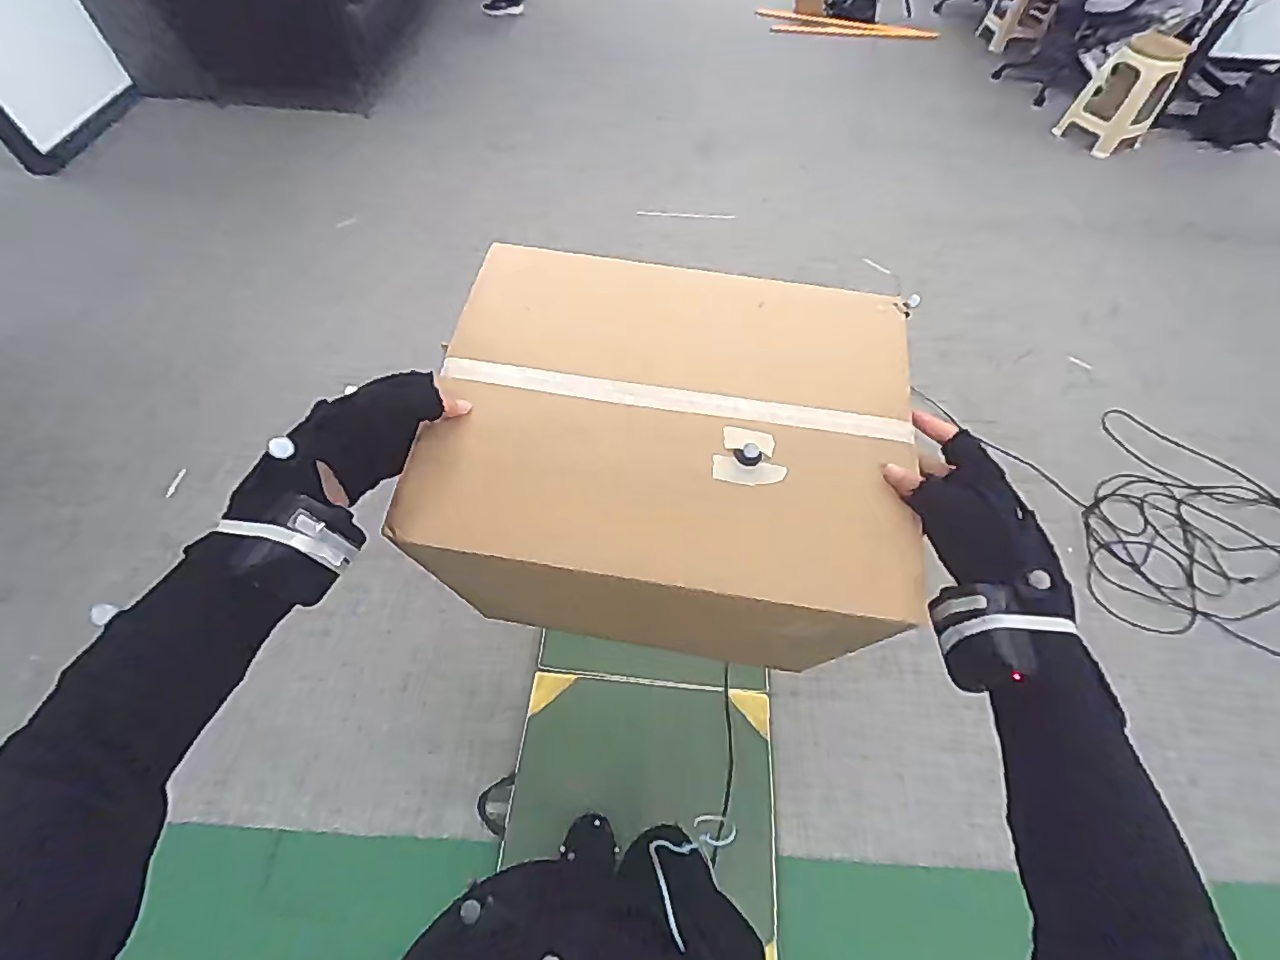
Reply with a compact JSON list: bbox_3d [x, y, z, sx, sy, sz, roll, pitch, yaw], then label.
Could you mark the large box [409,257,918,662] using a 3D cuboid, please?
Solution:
[{"bbox_3d":[0.029,0.001,0.610,0.408,0.320,0.320,9,65,2],"label":"large box"}]
